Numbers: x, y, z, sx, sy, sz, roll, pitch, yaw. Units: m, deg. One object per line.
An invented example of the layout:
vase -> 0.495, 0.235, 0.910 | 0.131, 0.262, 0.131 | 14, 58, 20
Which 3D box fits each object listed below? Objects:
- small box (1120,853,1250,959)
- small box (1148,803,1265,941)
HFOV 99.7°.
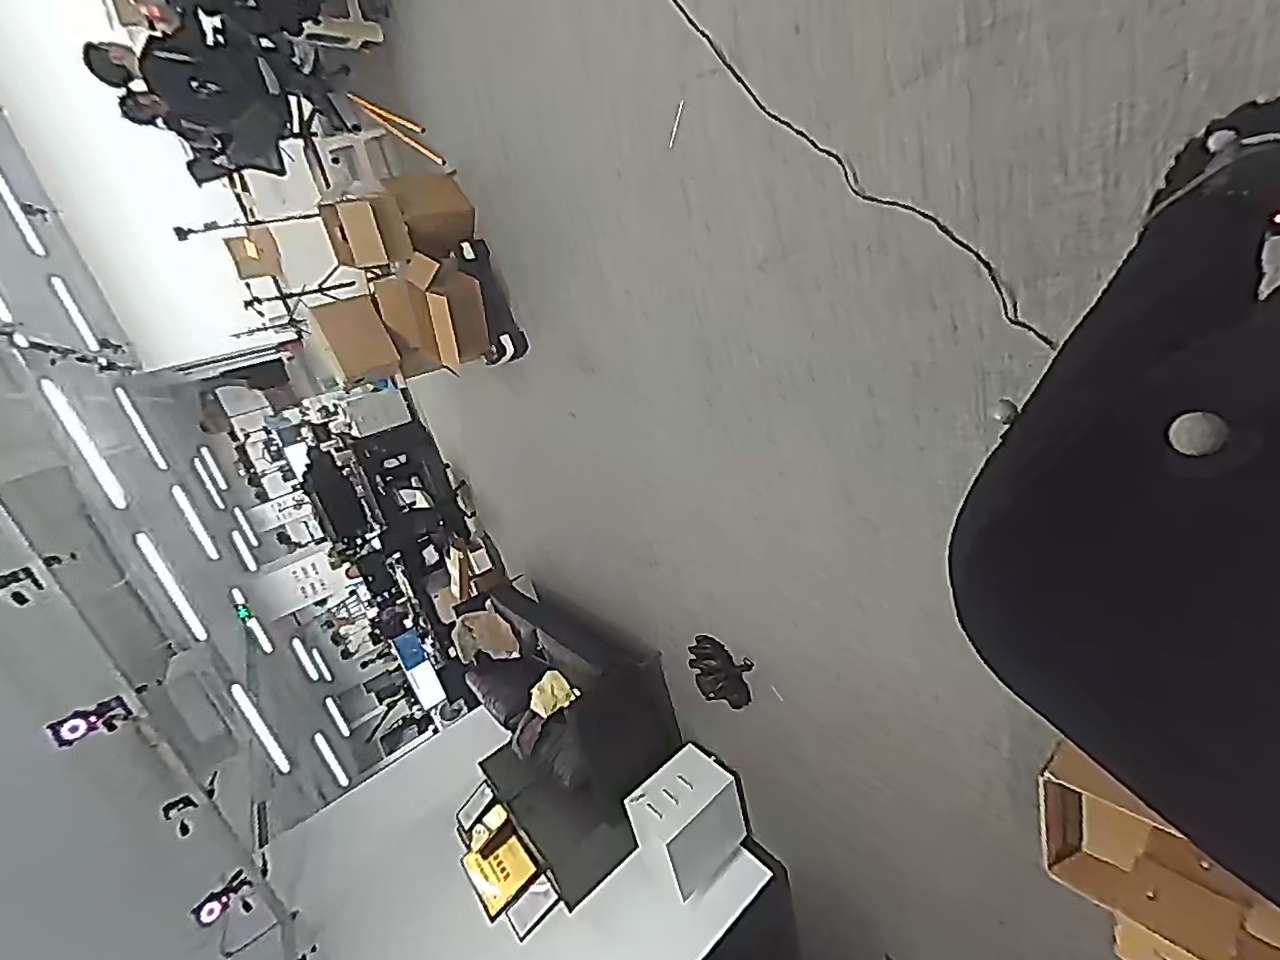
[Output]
small box -> 1.220, 0.989, 1.211 | 0.179, 0.176, 0.168 | 4, 118, 56
small box -> 1.365, 0.931, 1.304 | 0.179, 0.176, 0.168 | 7, 121, 55
